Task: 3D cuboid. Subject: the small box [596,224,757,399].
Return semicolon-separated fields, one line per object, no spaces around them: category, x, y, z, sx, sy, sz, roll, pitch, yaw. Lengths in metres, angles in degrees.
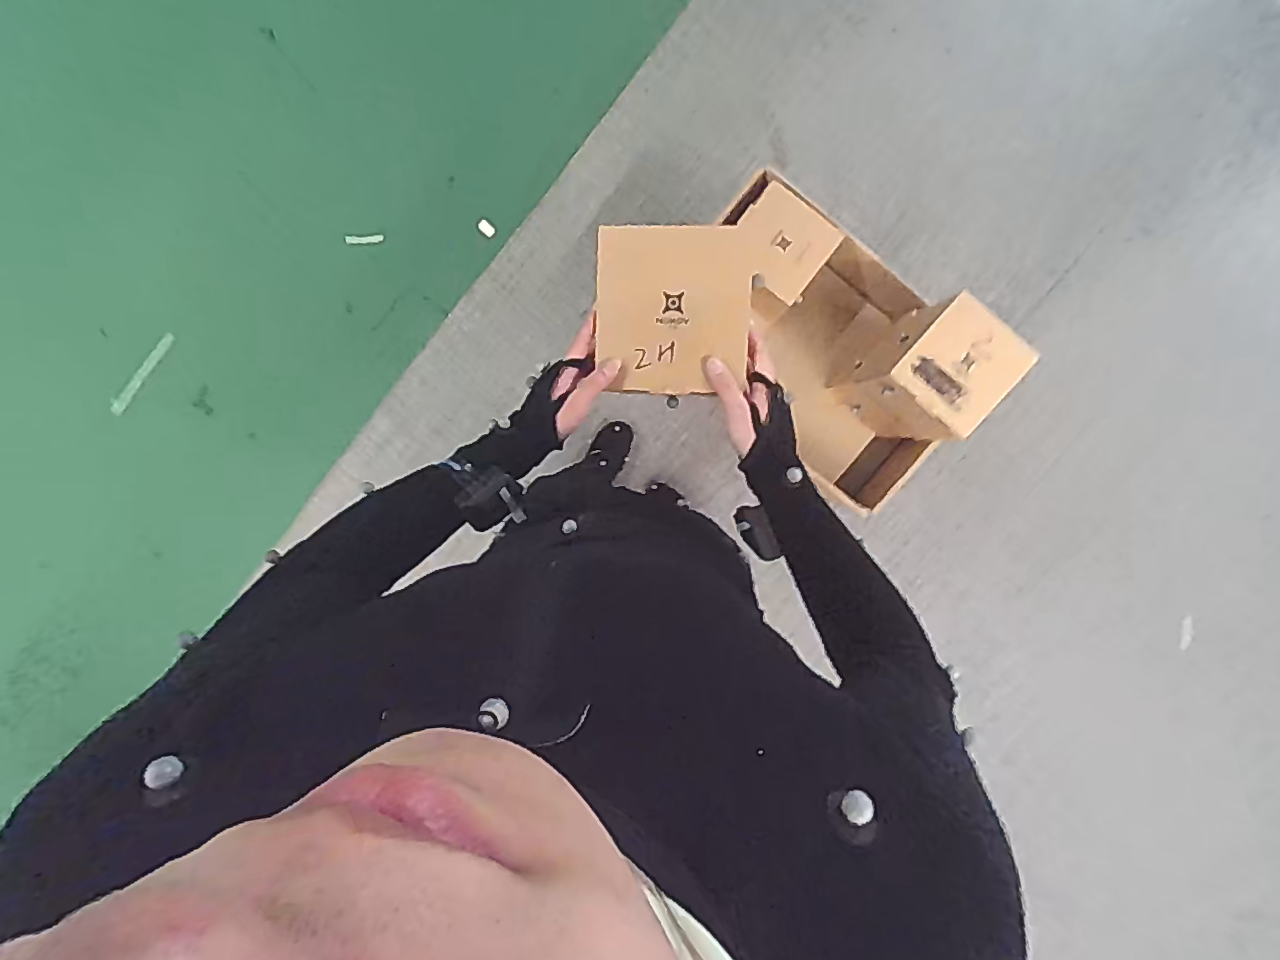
small box;0.044;-0.191;0.653;0.168;0.176;0.179;3;99;7

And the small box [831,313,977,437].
small box;0.522;-0.206;1.101;0.168;0.176;0.179;41;95;-1
